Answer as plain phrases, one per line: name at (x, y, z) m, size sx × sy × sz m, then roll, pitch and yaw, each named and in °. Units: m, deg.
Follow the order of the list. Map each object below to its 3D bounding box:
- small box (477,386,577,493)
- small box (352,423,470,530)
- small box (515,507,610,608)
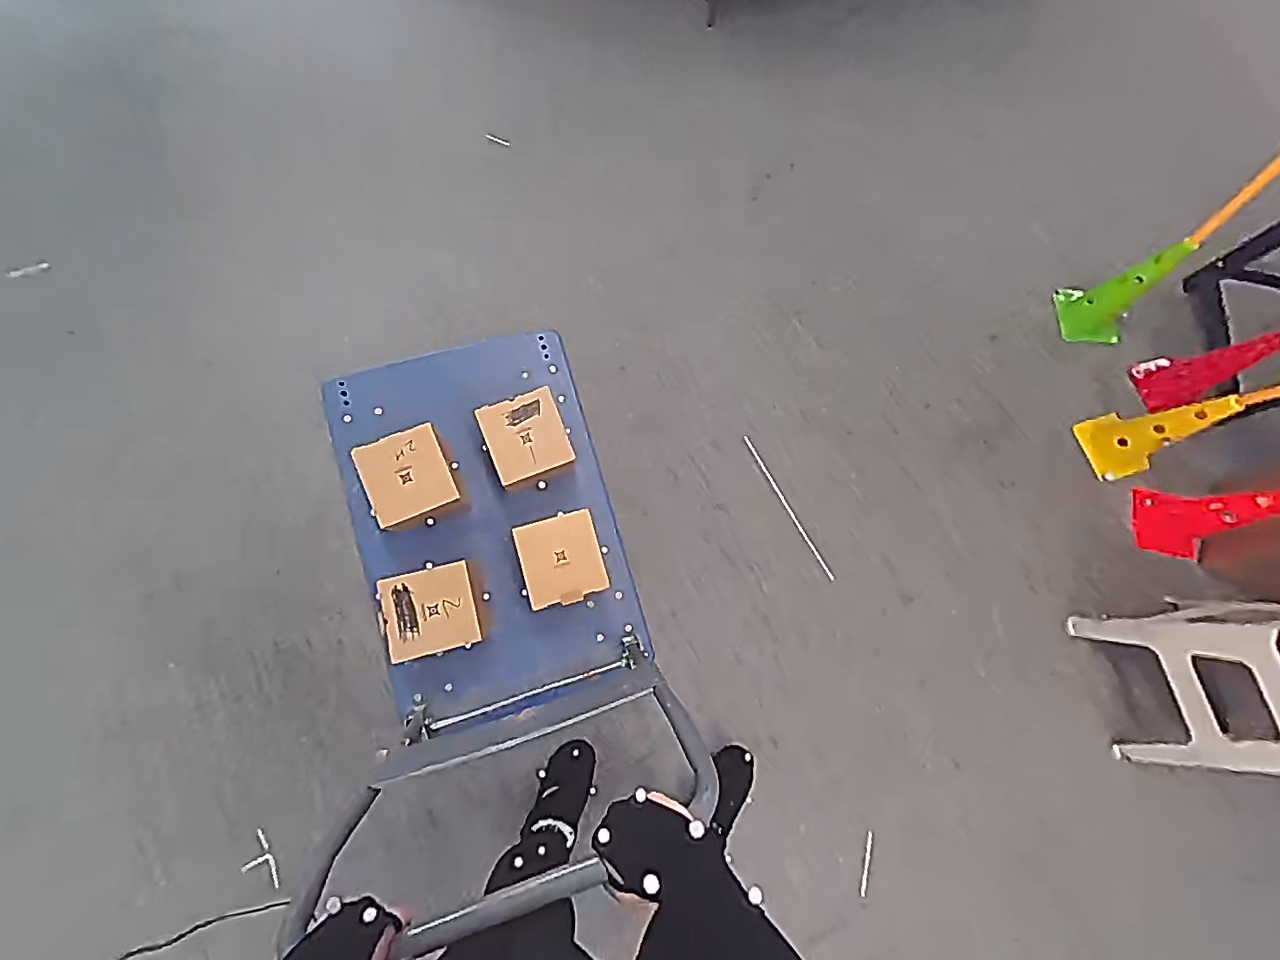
small box at (-0.251, -0.085, 1.222) m, size 0.168 × 0.176 × 0.179 m, roll -21°, pitch 85°, yaw -10°
small box at (-0.486, 0.000, 1.176) m, size 0.168 × 0.176 × 0.179 m, roll -22°, pitch 85°, yaw -11°
small box at (-0.173, 0.171, 1.196) m, size 0.168 × 0.176 × 0.179 m, roll -15°, pitch 85°, yaw -10°
